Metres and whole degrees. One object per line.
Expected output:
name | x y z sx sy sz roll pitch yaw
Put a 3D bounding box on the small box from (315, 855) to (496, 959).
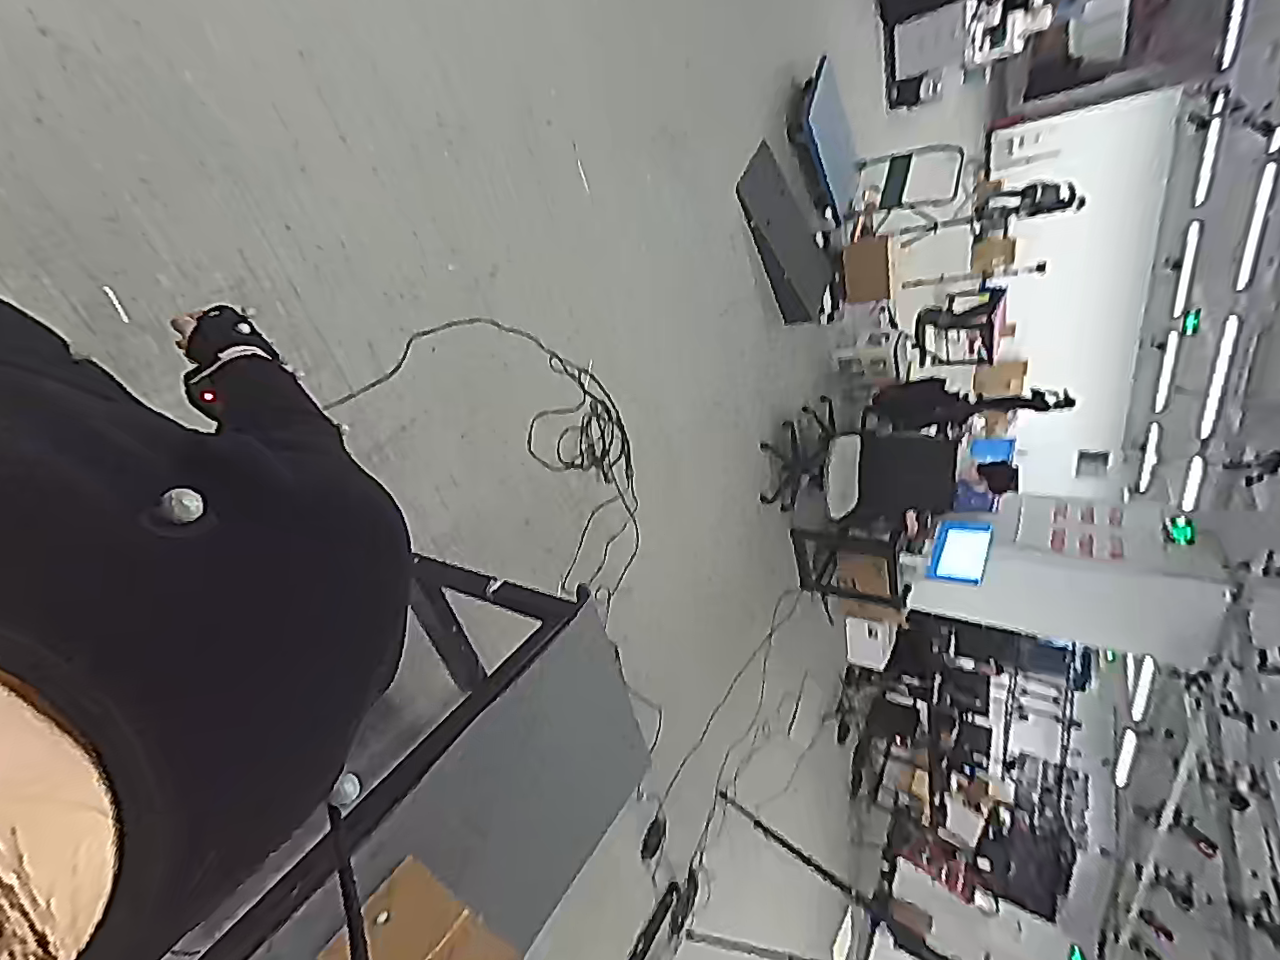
small box | -0.364 0.743 0.849 0.168 0.176 0.179 -40 127 -43
